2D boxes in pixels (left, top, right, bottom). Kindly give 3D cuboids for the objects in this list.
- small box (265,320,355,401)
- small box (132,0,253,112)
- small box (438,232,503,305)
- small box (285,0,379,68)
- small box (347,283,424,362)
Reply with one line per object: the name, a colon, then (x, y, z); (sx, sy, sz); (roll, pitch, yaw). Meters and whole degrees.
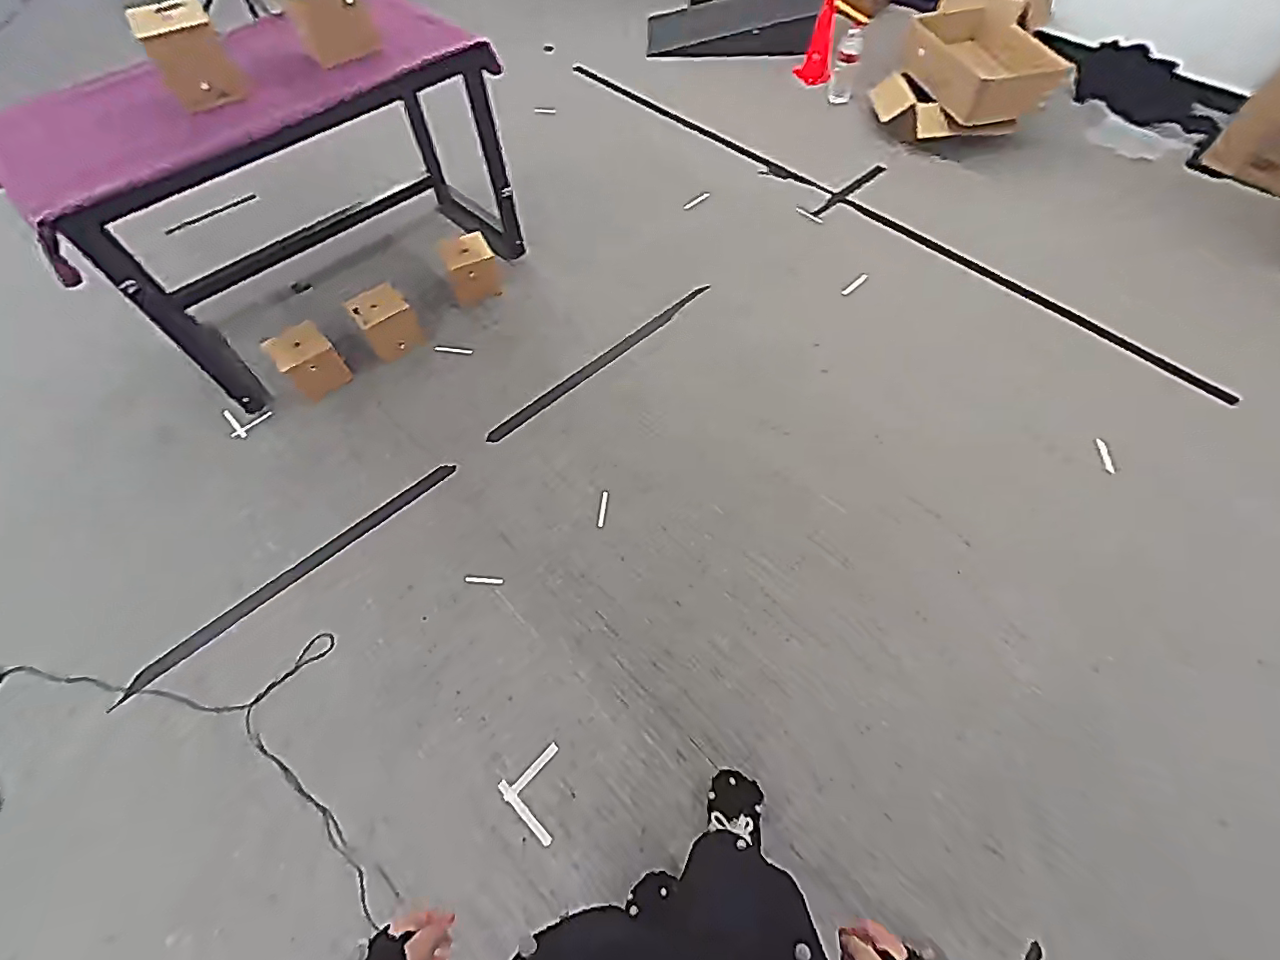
small box: (-1.115, -0.401, 1.838); (0.179, 0.176, 0.168); (-38, 67, -19)
small box: (-1.146, -1.089, 1.392); (0.168, 0.176, 0.179); (-29, 64, -14)
small box: (-0.638, -0.803, 2.059); (0.179, 0.176, 0.168); (-25, 63, -11)
small box: (-0.859, -1.294, 1.503); (0.179, 0.176, 0.168); (-38, 65, -18)
small box: (-0.894, -0.557, 1.922); (0.179, 0.176, 0.168); (-36, 66, -18)
